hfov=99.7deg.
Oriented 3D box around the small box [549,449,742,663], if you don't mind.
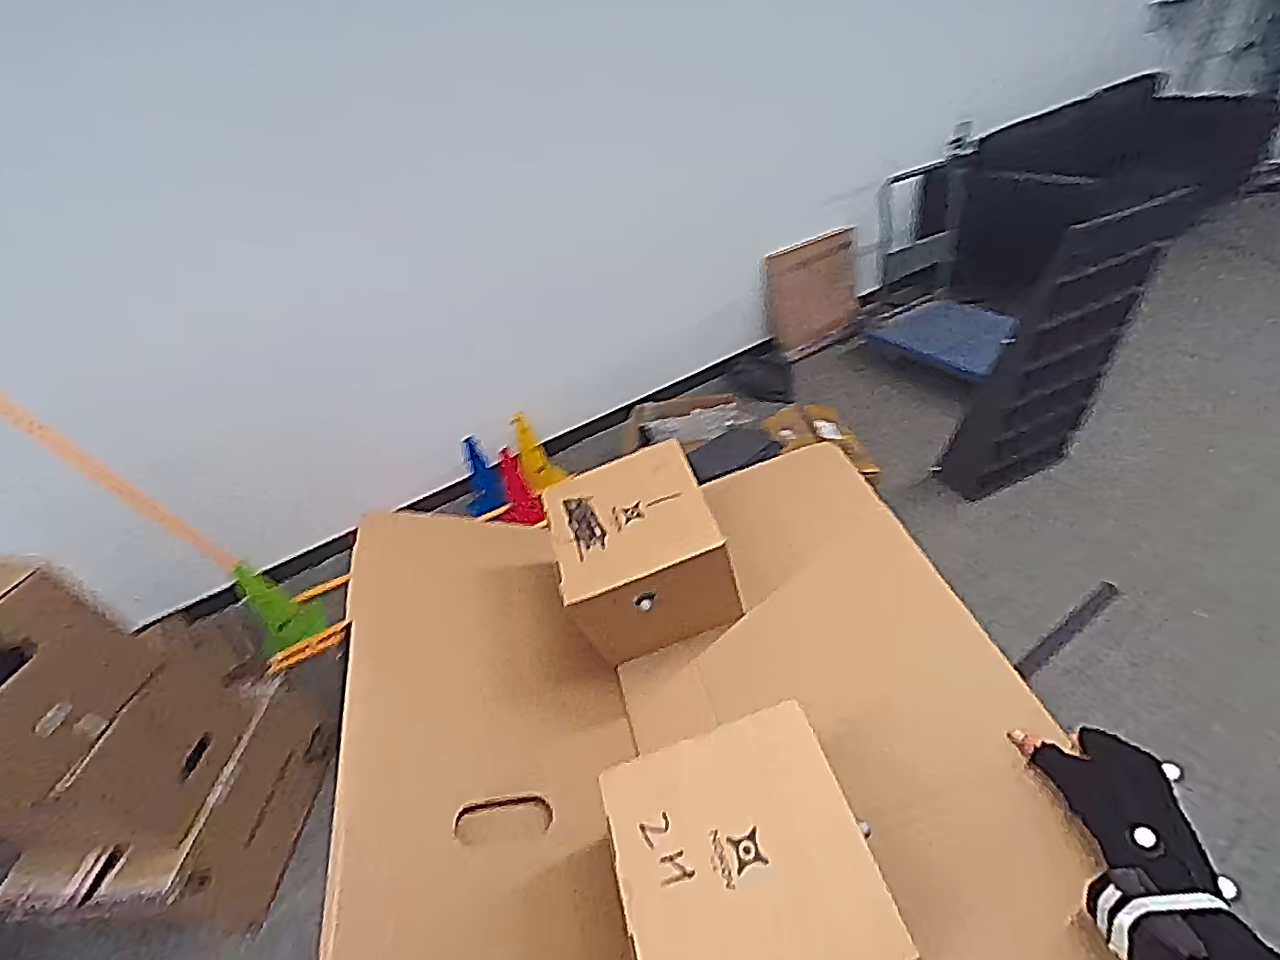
[{"bbox_3d":[0.009,0.098,0.664,0.179,0.176,0.168,-22,48,1],"label":"small box"}]
